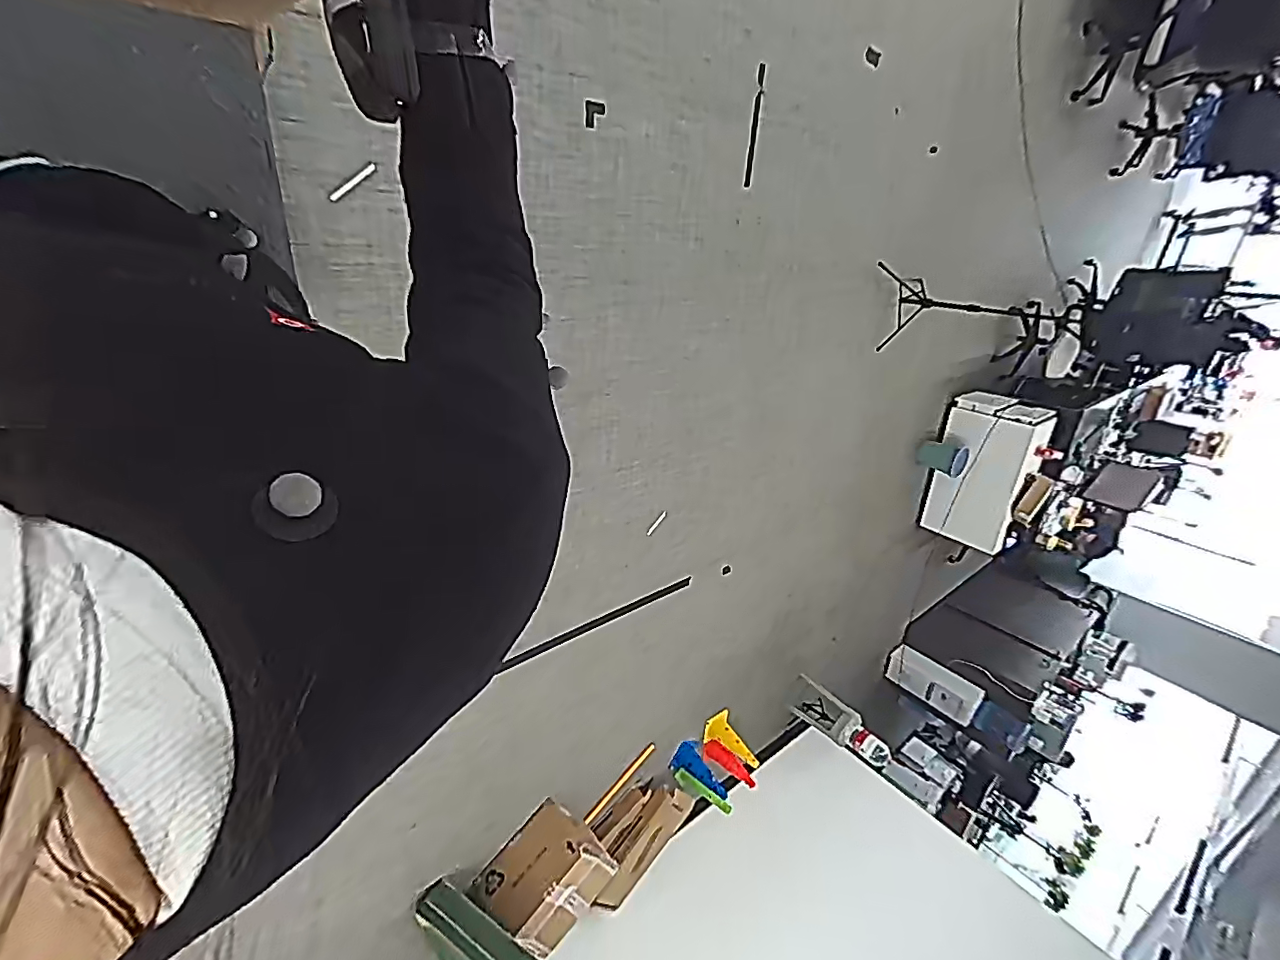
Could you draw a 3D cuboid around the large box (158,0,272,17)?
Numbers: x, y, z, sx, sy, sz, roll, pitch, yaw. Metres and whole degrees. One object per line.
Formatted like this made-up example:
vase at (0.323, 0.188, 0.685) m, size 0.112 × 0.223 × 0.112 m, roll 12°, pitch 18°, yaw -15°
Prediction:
large box at (-0.391, -0.426, 0.200) m, size 0.408 × 0.320 × 0.320 m, roll -19°, pitch 129°, yaw -35°
